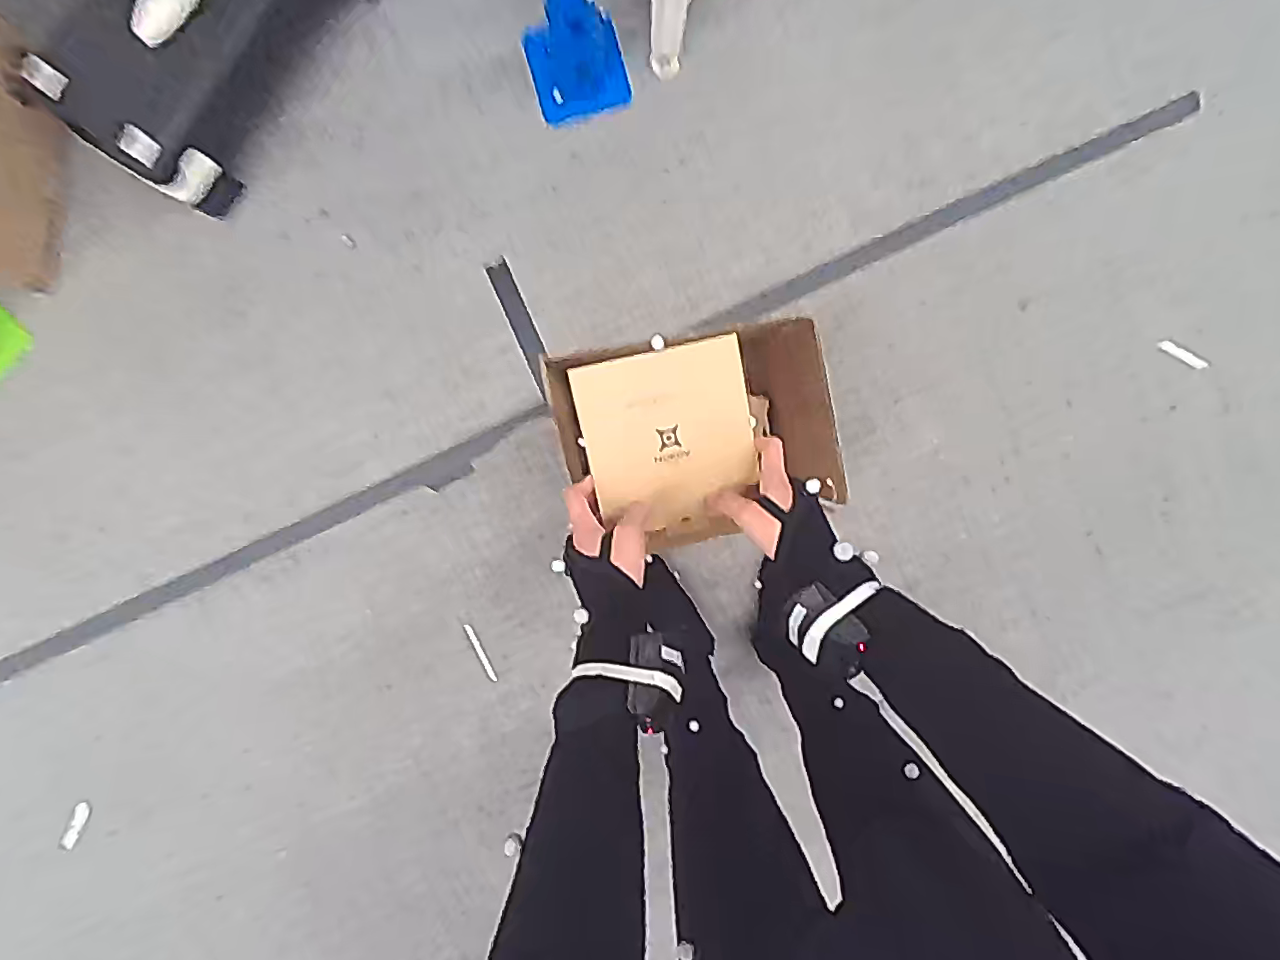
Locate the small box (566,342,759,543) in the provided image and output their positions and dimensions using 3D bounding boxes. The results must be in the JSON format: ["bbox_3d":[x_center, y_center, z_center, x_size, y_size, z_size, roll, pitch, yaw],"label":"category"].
[{"bbox_3d":[0.022,-0.050,0.602,0.168,0.176,0.179,-12,101,-1],"label":"small box"}]
